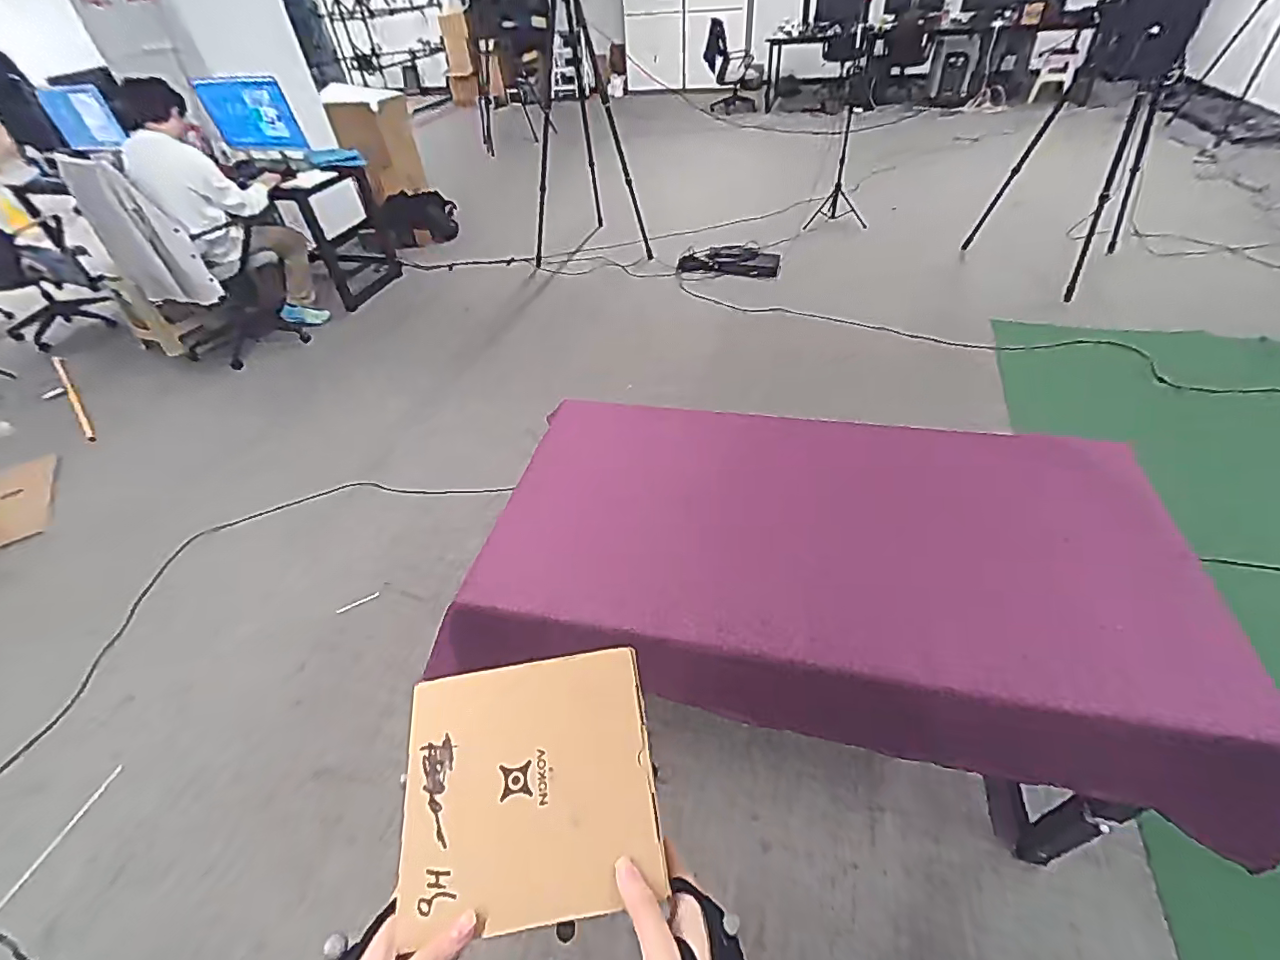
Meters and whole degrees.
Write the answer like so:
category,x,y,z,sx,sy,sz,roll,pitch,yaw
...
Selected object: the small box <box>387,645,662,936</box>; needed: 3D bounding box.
category,x,y,z,sx,sy,sz,roll,pitch,yaw
small box,-0.080,0.255,0.451,0.179,0.176,0.168,-8,53,-3
